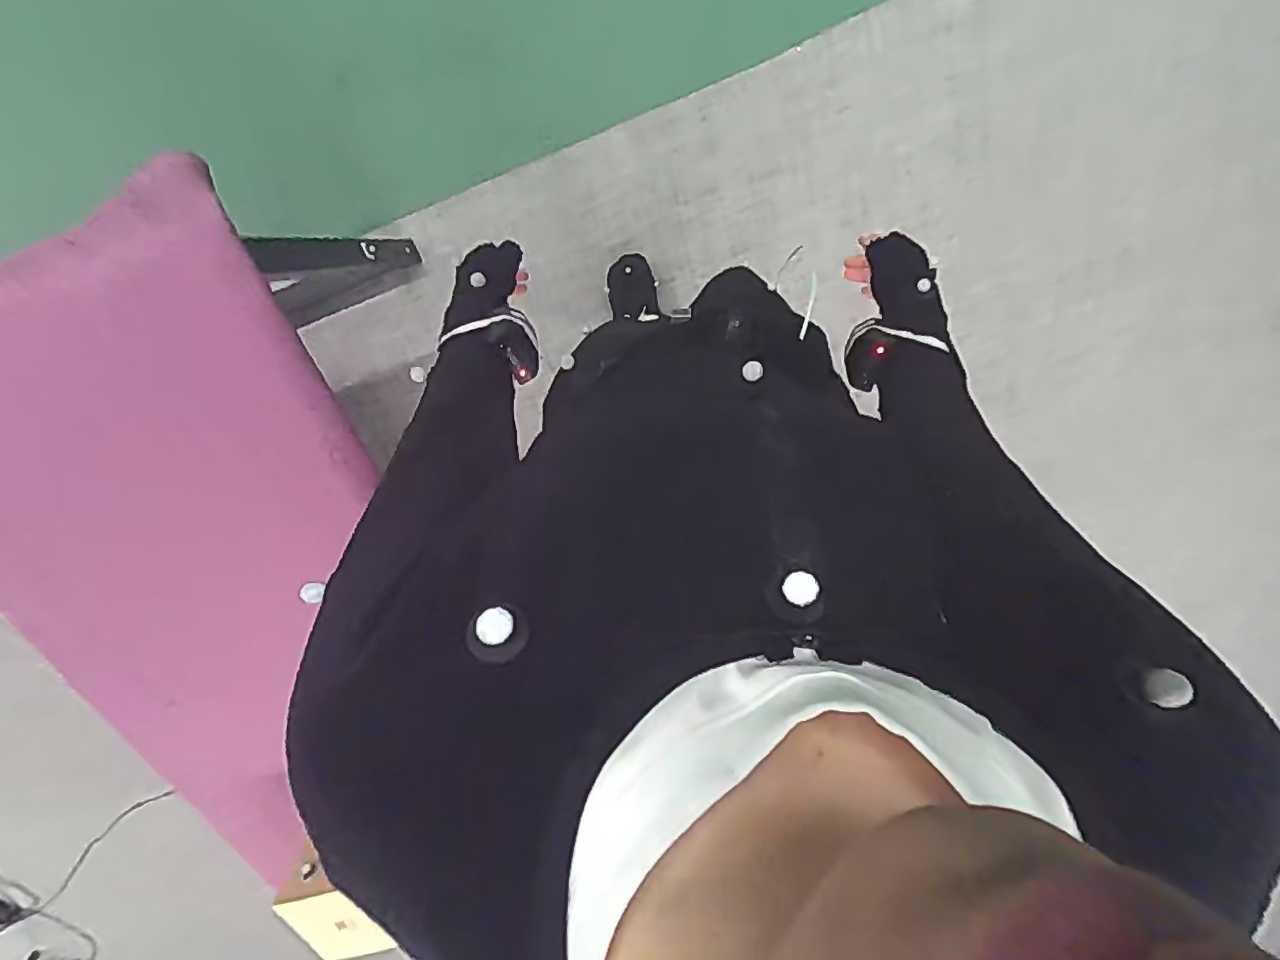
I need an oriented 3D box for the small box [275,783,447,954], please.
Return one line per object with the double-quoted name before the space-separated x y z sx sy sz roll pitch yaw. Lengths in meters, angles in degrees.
"small box" -0.470 0.668 0.941 0.179 0.176 0.168 -17 112 7
